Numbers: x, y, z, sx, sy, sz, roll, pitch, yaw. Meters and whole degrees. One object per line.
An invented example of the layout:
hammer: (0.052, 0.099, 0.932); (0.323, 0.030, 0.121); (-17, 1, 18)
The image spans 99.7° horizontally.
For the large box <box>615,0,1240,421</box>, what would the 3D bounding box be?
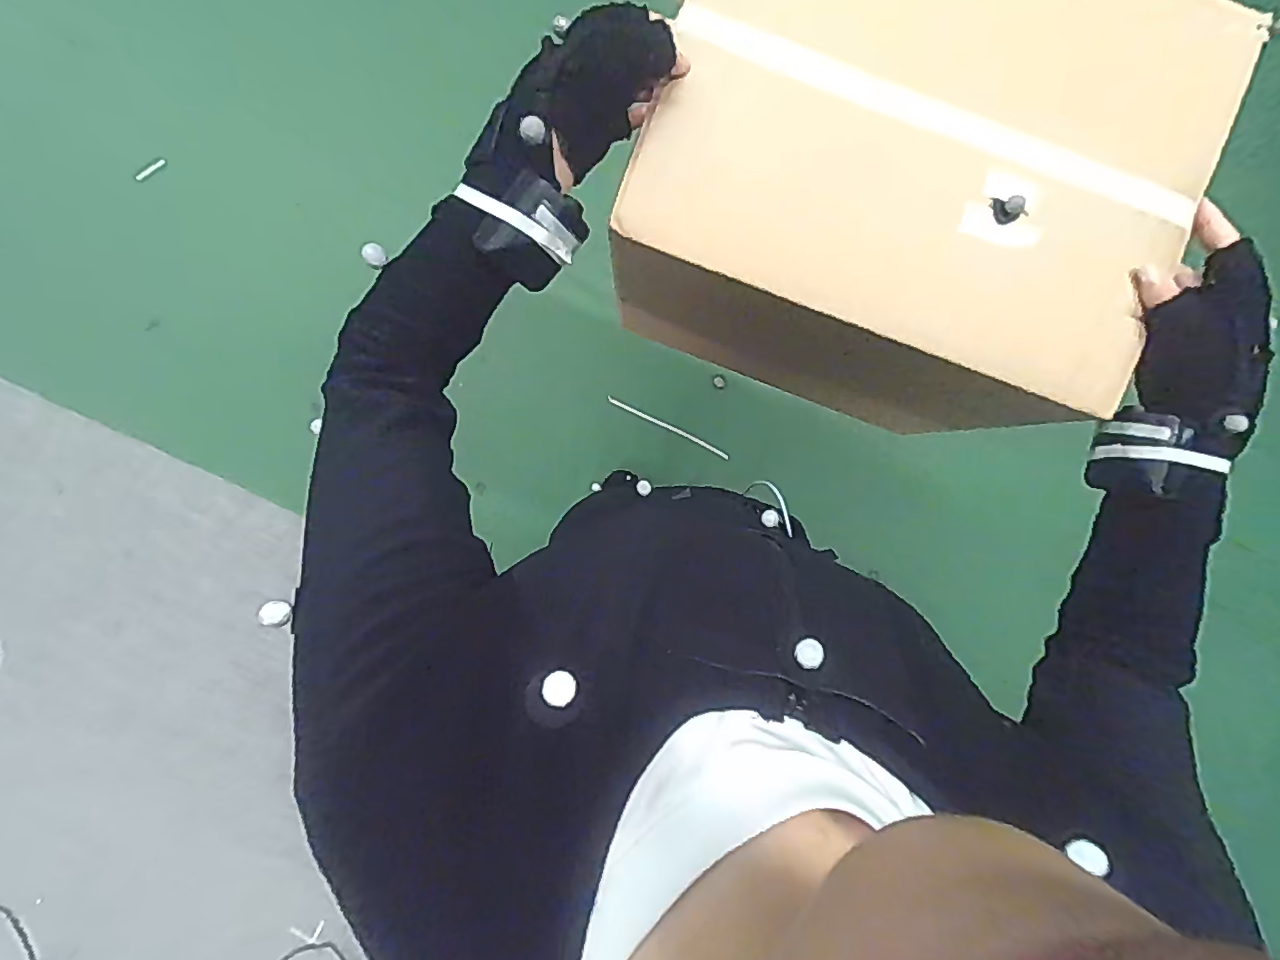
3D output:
large box: (0.211, -0.275, 0.553); (0.408, 0.320, 0.320); (20, 93, -2)
